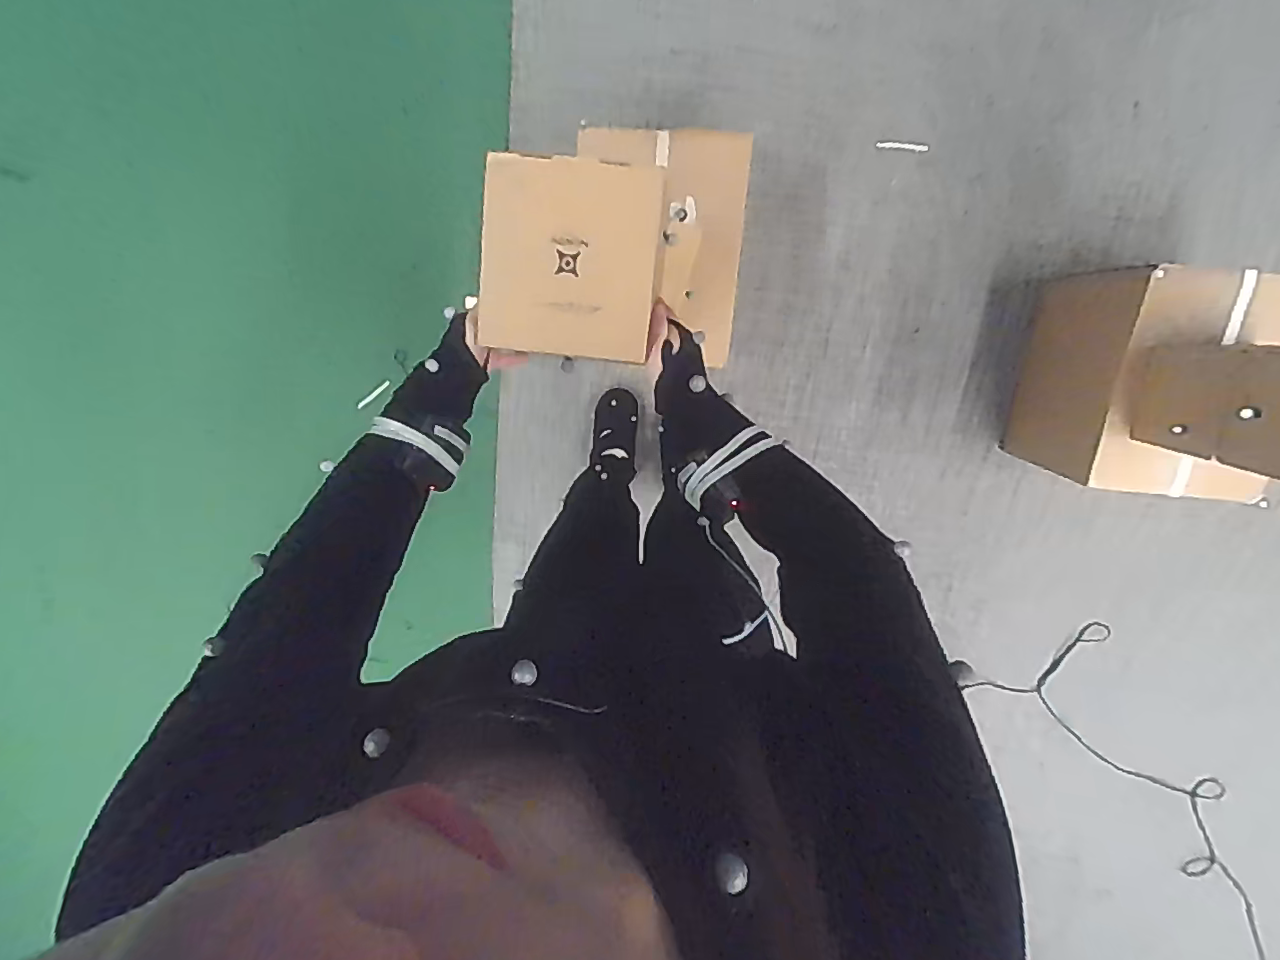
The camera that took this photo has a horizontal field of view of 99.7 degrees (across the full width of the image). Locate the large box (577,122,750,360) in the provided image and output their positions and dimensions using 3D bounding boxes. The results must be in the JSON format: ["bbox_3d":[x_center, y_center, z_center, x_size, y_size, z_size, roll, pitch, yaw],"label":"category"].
[{"bbox_3d":[0.047,-0.471,1.143,0.320,0.320,0.408,6,106,5],"label":"large box"}]

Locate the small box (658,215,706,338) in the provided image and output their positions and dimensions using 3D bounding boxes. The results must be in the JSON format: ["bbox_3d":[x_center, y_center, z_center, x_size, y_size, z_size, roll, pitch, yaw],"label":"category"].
[{"bbox_3d":[0.009,-0.354,0.925,0.168,0.176,0.179,17,108,3],"label":"small box"}]

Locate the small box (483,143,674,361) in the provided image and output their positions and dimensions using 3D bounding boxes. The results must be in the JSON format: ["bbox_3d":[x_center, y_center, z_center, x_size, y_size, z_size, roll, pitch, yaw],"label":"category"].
[{"bbox_3d":[-0.056,-0.229,0.587,0.168,0.176,0.179,8,102,3],"label":"small box"}]

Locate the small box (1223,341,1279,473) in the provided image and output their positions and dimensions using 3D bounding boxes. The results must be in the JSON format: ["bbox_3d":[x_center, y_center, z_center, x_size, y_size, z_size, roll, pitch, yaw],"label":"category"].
[{"bbox_3d":[0.970,-0.096,0.736,0.168,0.176,0.179,-2,107,8],"label":"small box"}]
